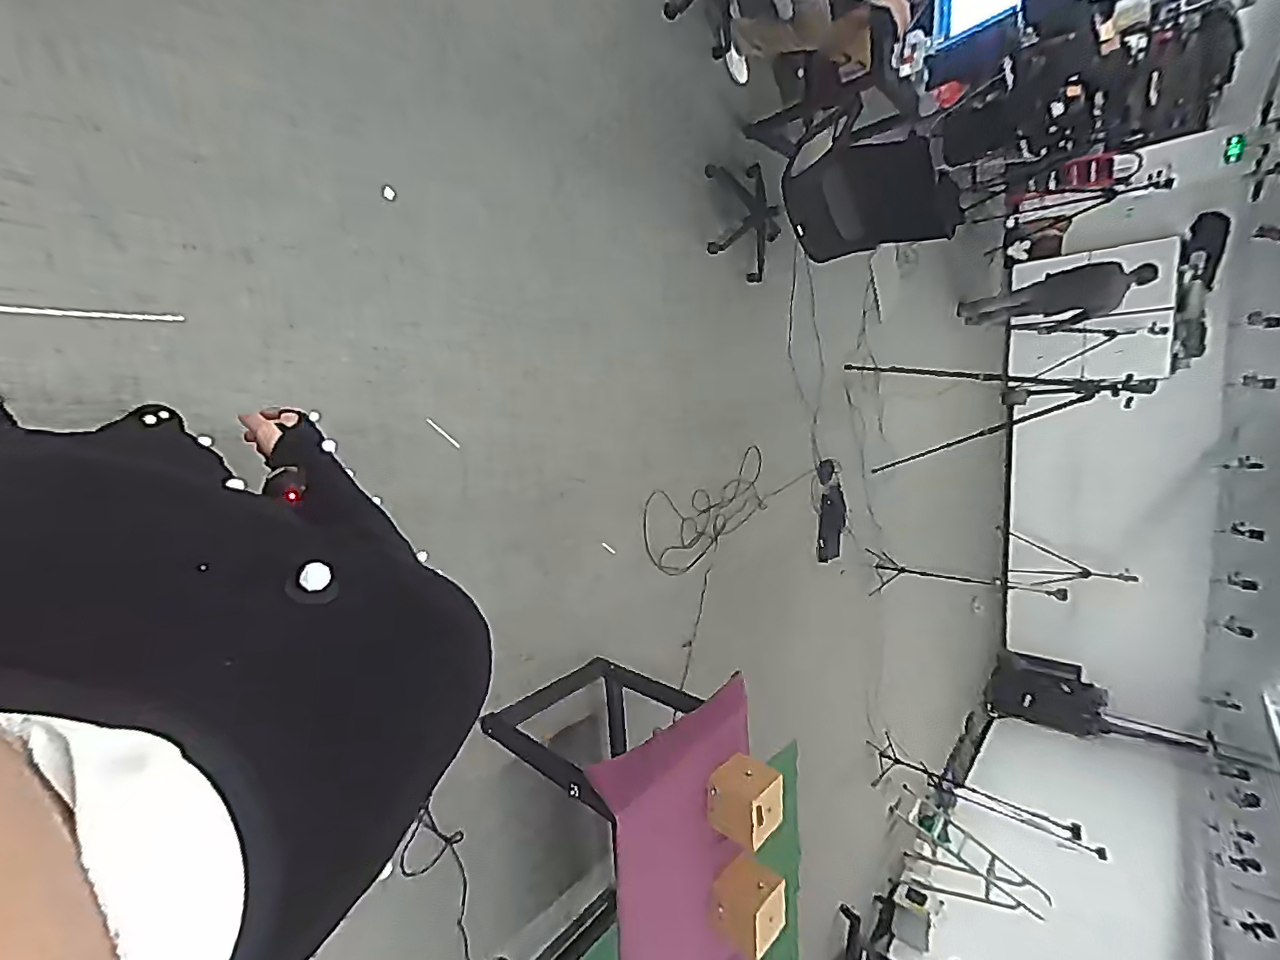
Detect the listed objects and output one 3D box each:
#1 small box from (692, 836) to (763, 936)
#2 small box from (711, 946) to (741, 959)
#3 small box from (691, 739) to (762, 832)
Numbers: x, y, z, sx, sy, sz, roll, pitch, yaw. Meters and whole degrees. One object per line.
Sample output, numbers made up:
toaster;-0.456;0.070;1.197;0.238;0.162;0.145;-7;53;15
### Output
small box;0.295;1.349;1.813;0.179;0.176;0.168;-7;99;-47
small box;0.302;1.782;1.866;0.179;0.176;0.168;-10;101;-47
small box;0.277;0.978;1.747;0.179;0.176;0.168;-10;102;-47
